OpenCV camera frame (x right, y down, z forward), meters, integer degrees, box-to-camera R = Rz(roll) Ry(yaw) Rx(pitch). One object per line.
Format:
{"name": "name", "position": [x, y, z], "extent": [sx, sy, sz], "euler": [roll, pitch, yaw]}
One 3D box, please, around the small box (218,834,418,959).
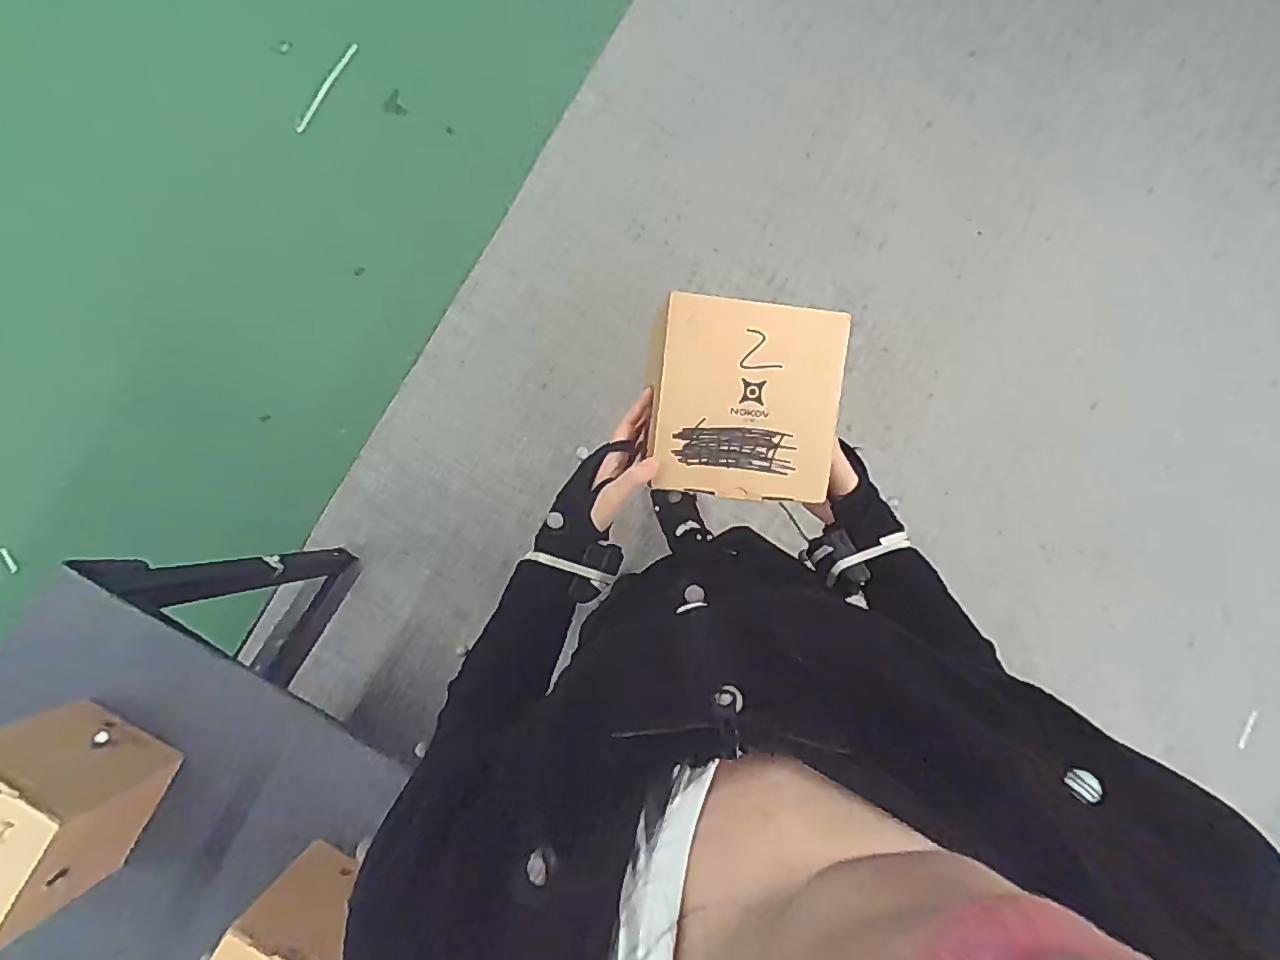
{"name": "small box", "position": [-0.417, 0.609, 0.685], "extent": [0.168, 0.176, 0.179], "euler": [31, 88, 3]}

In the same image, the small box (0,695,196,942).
{"name": "small box", "position": [-0.742, 0.417, 0.701], "extent": [0.168, 0.176, 0.179], "euler": [29, 88, 2]}
